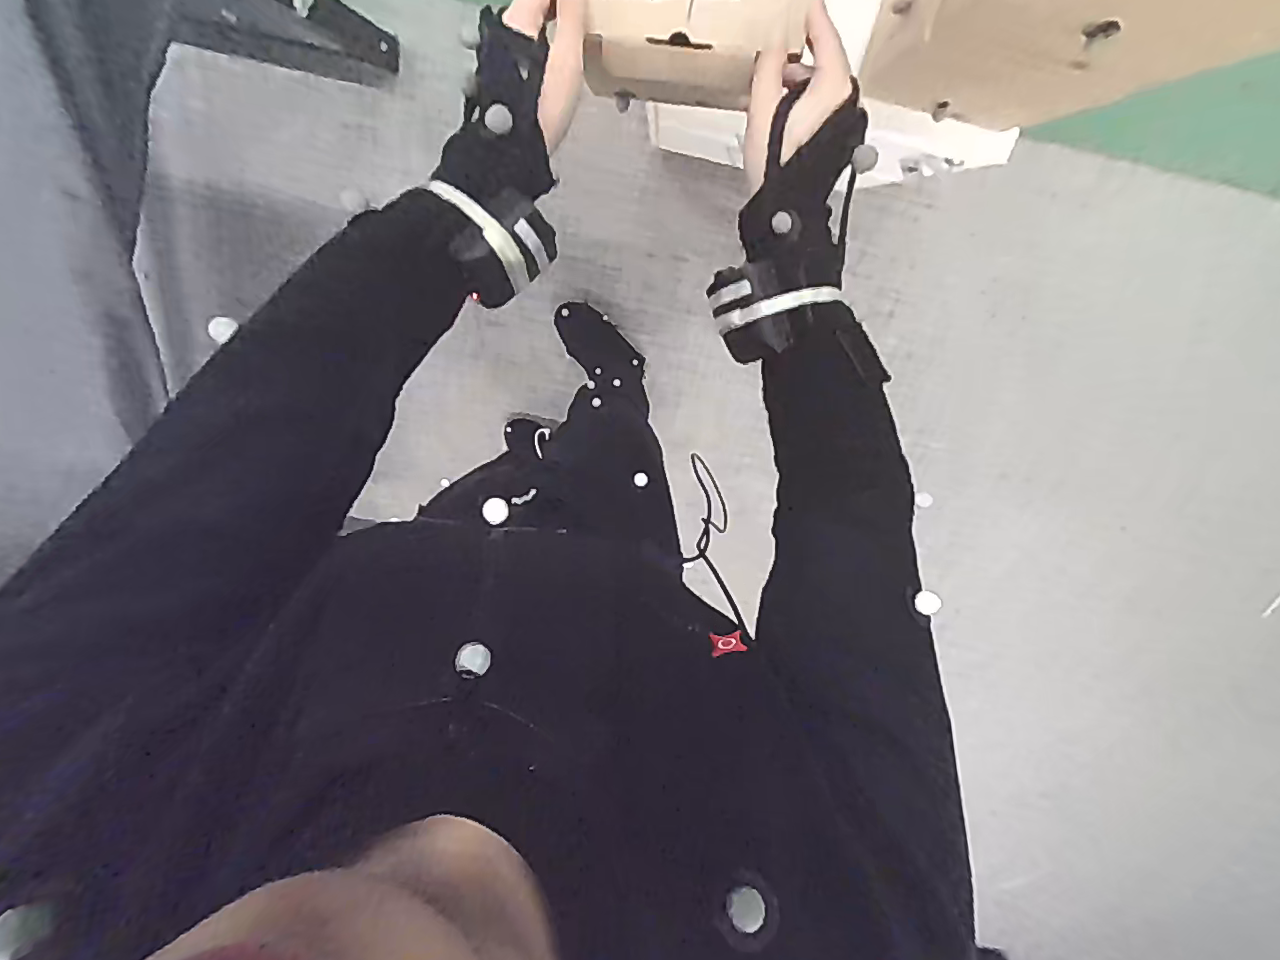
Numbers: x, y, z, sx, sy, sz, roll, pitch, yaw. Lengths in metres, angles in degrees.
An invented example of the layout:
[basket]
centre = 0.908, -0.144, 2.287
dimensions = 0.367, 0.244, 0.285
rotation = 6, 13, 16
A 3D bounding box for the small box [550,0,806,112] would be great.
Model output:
[small box]
centre = 0.035, -0.389, 0.392
dimensions = 0.168, 0.176, 0.179
rotation = 6, 114, 1
